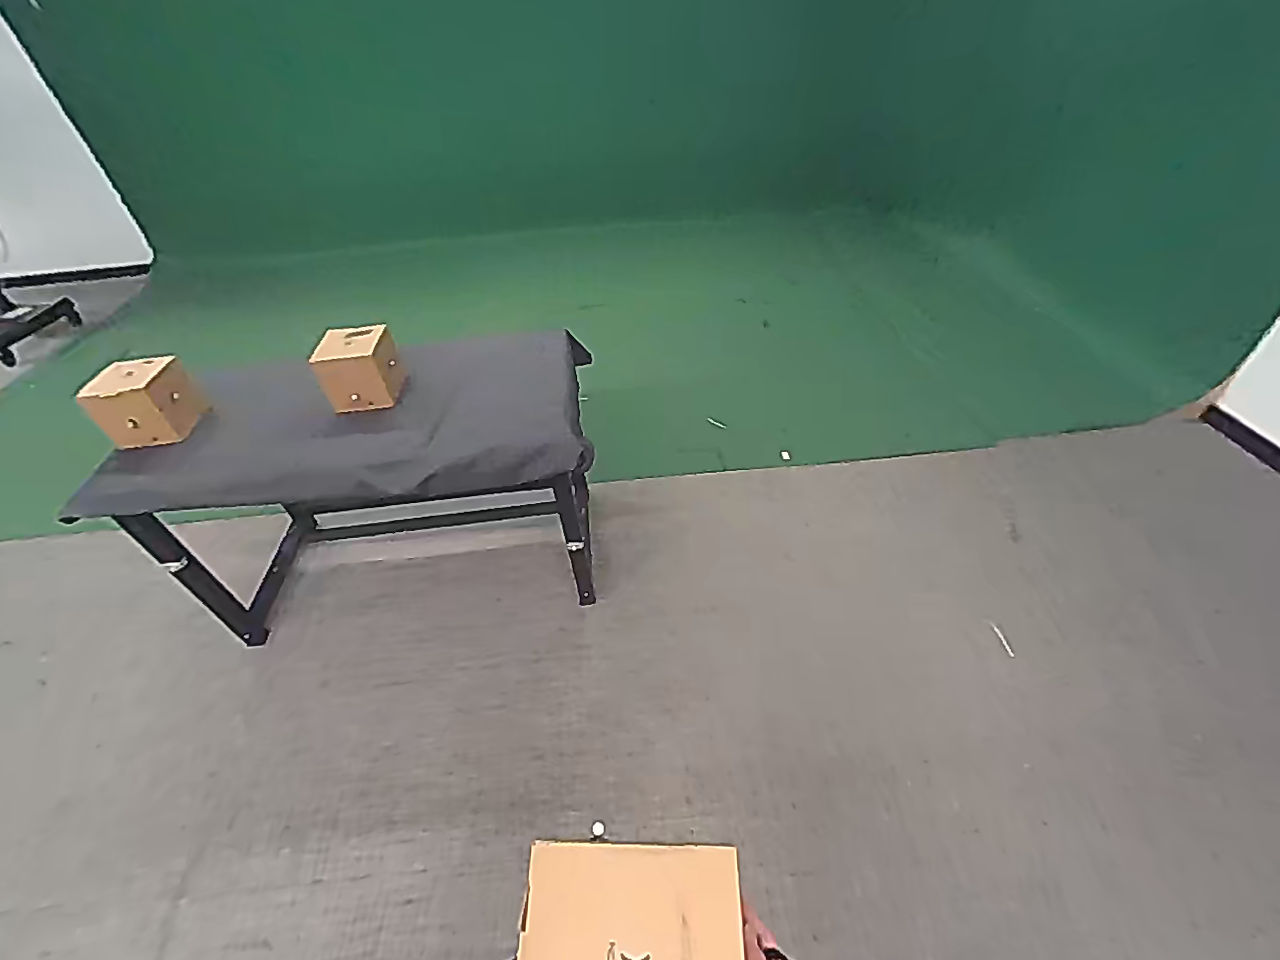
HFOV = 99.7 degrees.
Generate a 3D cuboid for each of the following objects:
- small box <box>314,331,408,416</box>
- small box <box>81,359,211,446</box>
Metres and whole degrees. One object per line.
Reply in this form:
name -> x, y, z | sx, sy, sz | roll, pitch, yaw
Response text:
small box -> -0.777, -0.301, 1.530 | 0.168, 0.176, 0.179 | -6, 44, -2
small box -> -1.315, -0.204, 1.460 | 0.168, 0.176, 0.179 | -7, 43, -5
